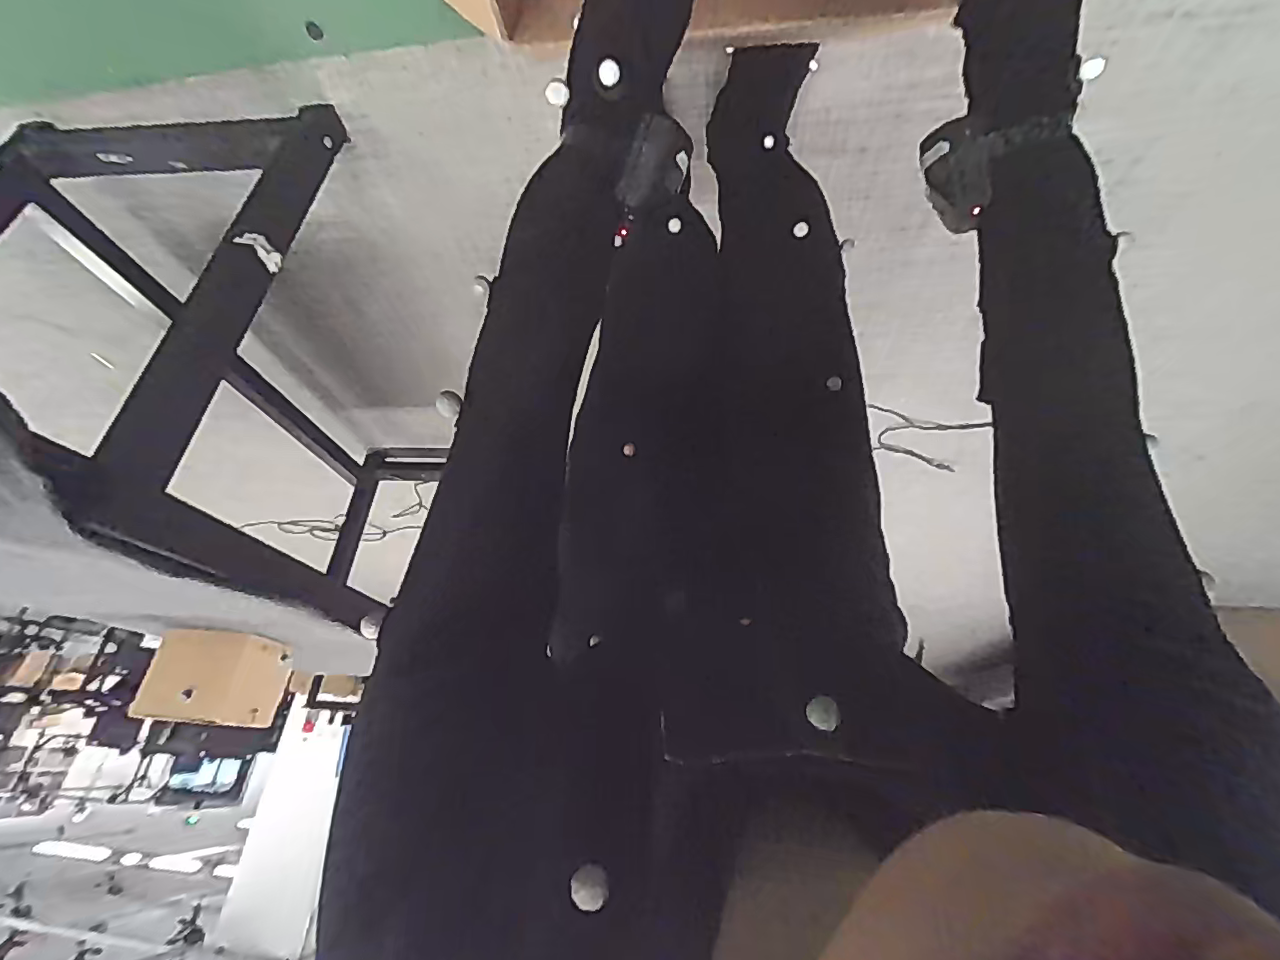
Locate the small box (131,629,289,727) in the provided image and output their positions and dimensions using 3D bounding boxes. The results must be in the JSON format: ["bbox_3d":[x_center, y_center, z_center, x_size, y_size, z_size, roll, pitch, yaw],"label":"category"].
[{"bbox_3d":[-0.861,0.407,1.111,0.179,0.176,0.168,3,153,3],"label":"small box"}]
